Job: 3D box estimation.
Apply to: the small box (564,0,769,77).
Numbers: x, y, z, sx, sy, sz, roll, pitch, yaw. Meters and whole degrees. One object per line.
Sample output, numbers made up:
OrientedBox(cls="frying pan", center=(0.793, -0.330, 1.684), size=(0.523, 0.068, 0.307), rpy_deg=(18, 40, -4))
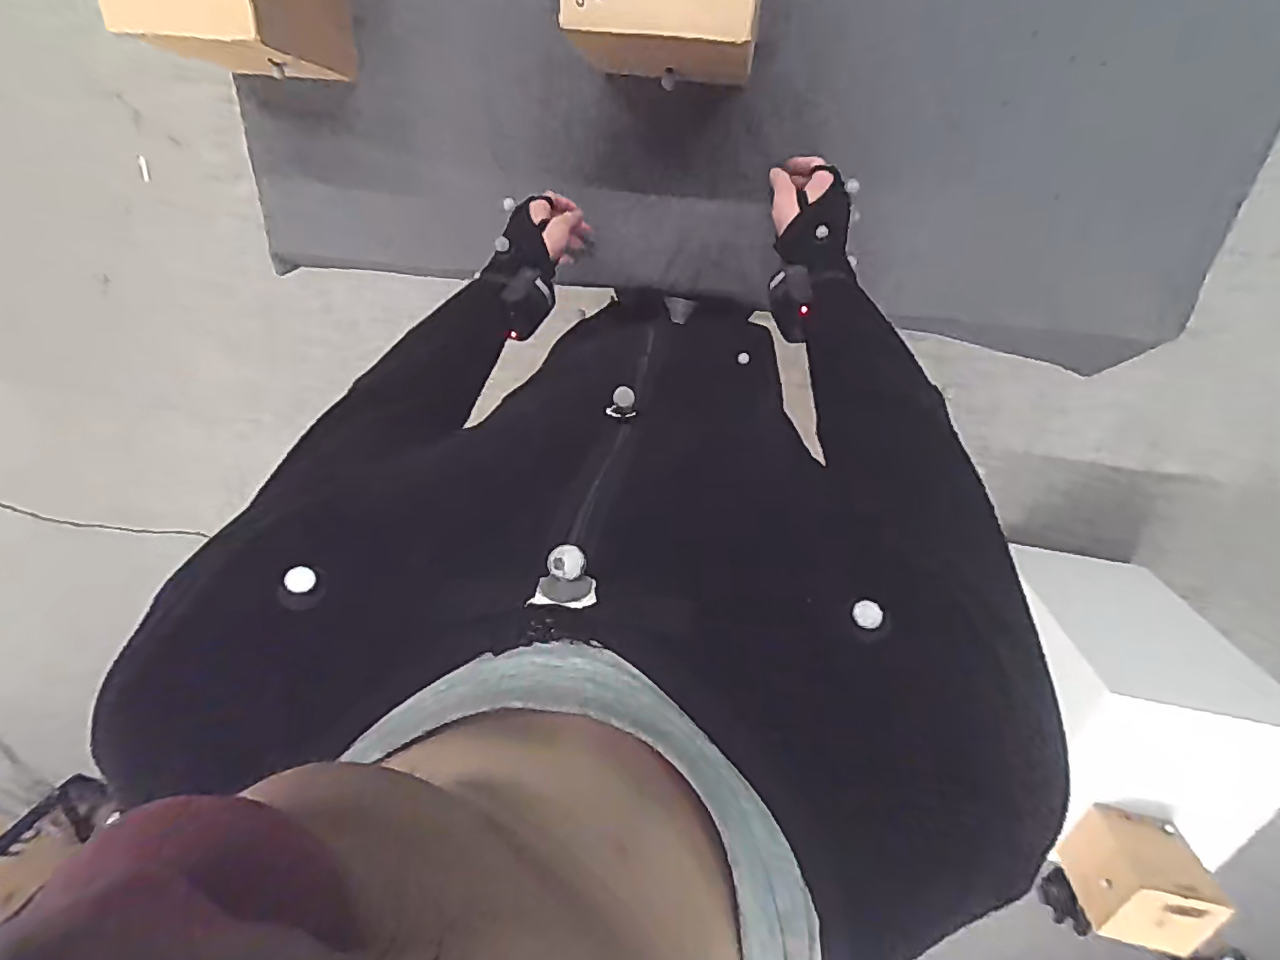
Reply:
OrientedBox(cls="small box", center=(0.036, -0.499, 0.504), size=(0.179, 0.176, 0.168), rpy_deg=(8, 115, 3))

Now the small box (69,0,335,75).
OrientedBox(cls="small box", center=(-0.441, -0.537, 0.551), size=(0.179, 0.176, 0.168), rpy_deg=(7, 114, 6))

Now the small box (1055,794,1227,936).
OrientedBox(cls="small box", center=(1.018, 0.791, 1.122), size=(0.168, 0.176, 0.179), rpy_deg=(9, 116, 4))
